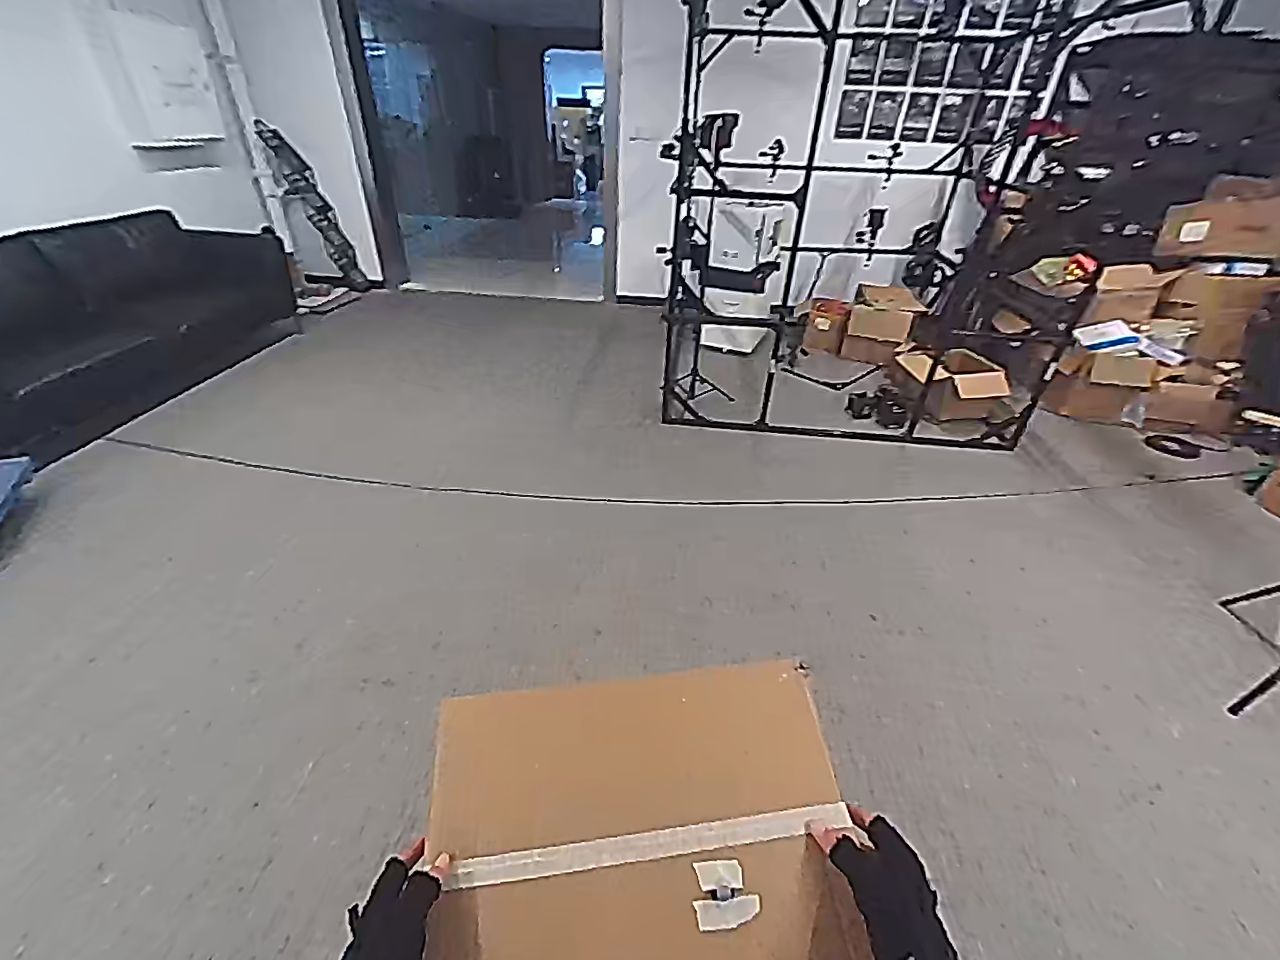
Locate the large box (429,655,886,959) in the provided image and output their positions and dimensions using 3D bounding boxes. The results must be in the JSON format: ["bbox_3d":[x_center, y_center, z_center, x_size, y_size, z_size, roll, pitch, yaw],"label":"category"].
[{"bbox_3d":[-0.003,0.437,0.644,0.408,0.320,0.320,-5,54,-6],"label":"large box"}]
